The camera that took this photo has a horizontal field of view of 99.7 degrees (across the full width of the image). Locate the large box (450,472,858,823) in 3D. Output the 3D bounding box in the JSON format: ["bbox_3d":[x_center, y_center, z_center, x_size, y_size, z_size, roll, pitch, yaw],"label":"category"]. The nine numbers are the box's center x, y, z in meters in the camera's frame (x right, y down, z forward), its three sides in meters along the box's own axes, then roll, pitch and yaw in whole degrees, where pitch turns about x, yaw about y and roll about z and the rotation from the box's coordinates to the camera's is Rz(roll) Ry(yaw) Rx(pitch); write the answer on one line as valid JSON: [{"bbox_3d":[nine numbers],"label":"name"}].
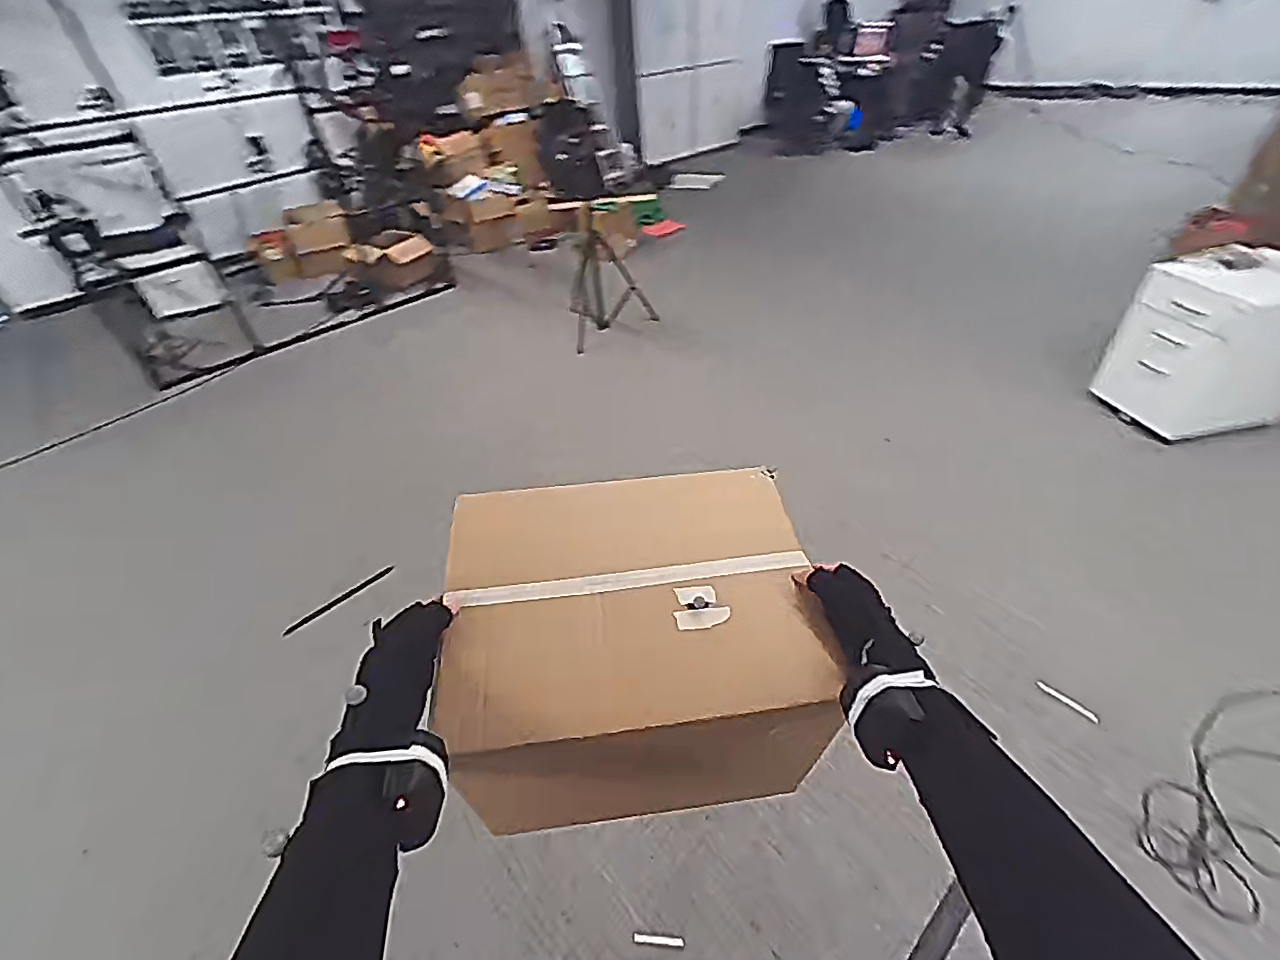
[{"bbox_3d":[-0.001,0.218,0.719,0.408,0.320,0.320,-5,46,-5],"label":"large box"}]
